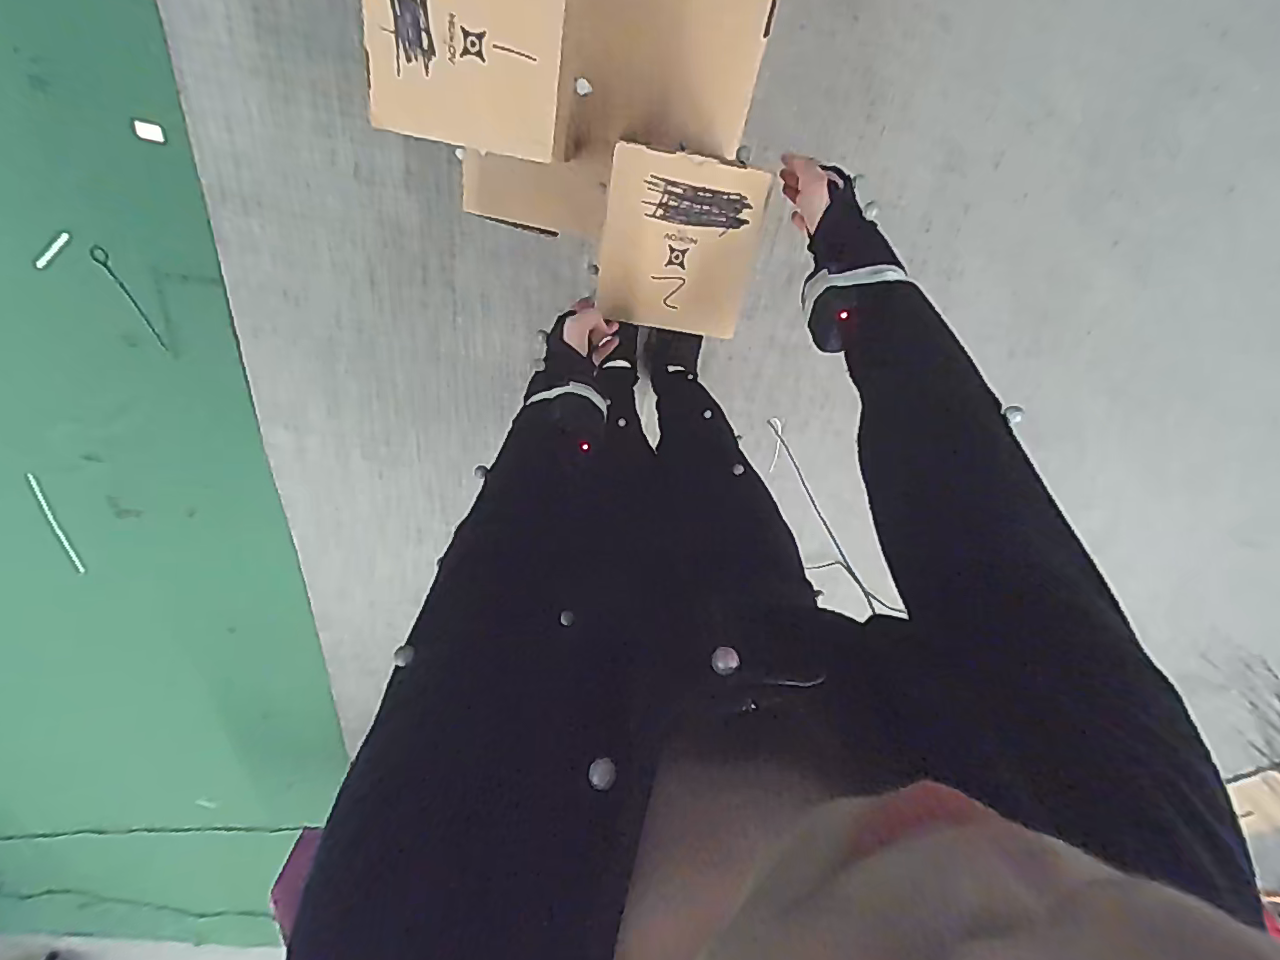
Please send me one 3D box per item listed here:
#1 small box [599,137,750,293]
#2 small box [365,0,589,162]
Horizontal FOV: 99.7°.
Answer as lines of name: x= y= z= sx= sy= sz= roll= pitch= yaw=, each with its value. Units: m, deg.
small box: x=0.039 y=-0.384 z=0.776 sx=0.179 sy=0.176 sz=0.168 roll=7 pitch=121 yaw=-6
small box: x=-0.154 y=-0.430 z=0.546 sx=0.179 sy=0.176 sz=0.168 roll=9 pitch=121 yaw=-5
